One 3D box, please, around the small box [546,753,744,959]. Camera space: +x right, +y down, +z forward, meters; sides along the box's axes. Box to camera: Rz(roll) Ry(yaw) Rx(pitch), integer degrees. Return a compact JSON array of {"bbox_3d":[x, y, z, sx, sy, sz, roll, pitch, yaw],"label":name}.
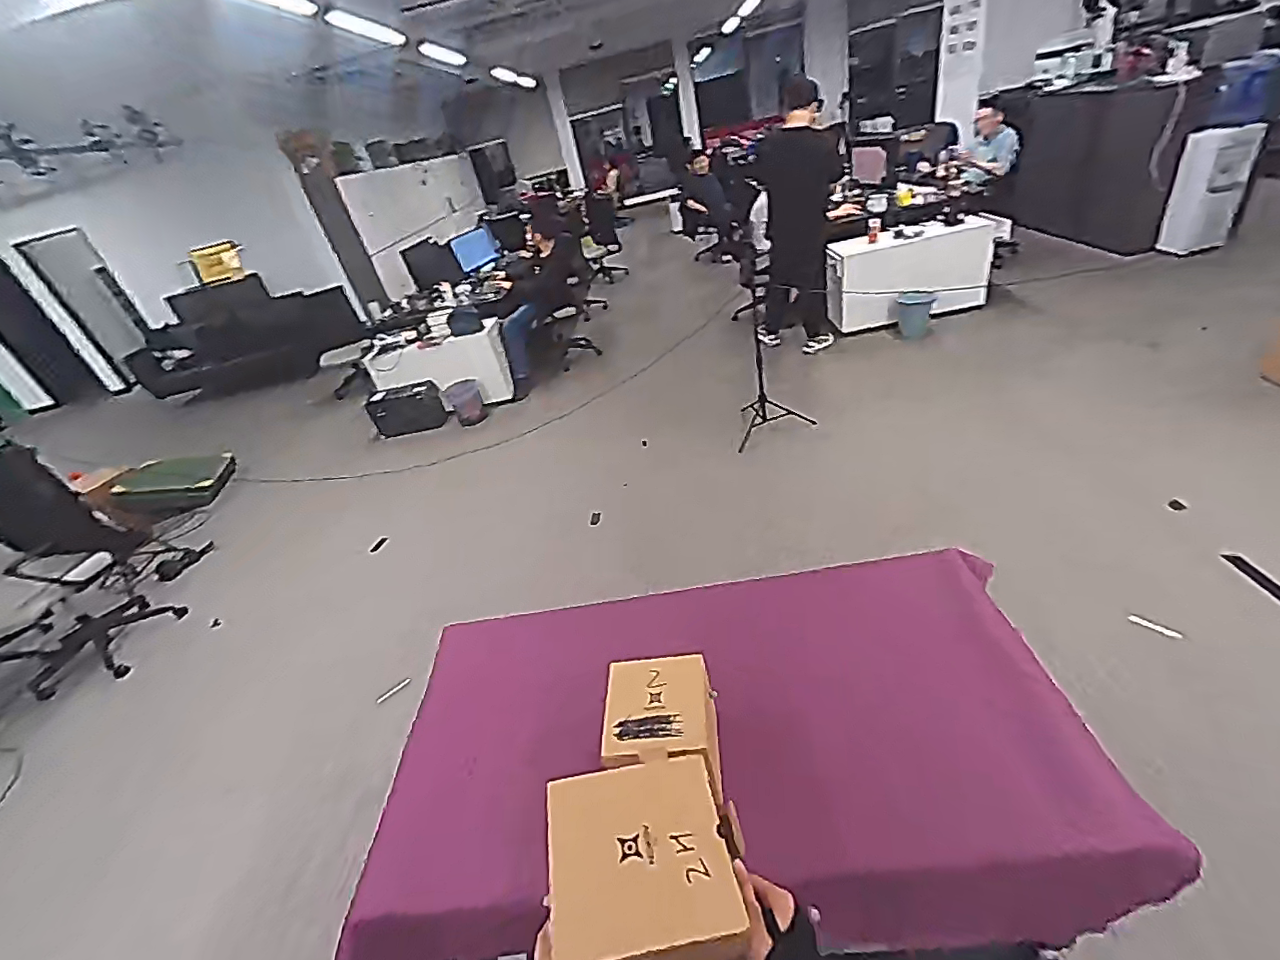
[{"bbox_3d":[-0.002,0.425,0.571,0.179,0.176,0.168,-5,32,-7],"label":"small box"}]
